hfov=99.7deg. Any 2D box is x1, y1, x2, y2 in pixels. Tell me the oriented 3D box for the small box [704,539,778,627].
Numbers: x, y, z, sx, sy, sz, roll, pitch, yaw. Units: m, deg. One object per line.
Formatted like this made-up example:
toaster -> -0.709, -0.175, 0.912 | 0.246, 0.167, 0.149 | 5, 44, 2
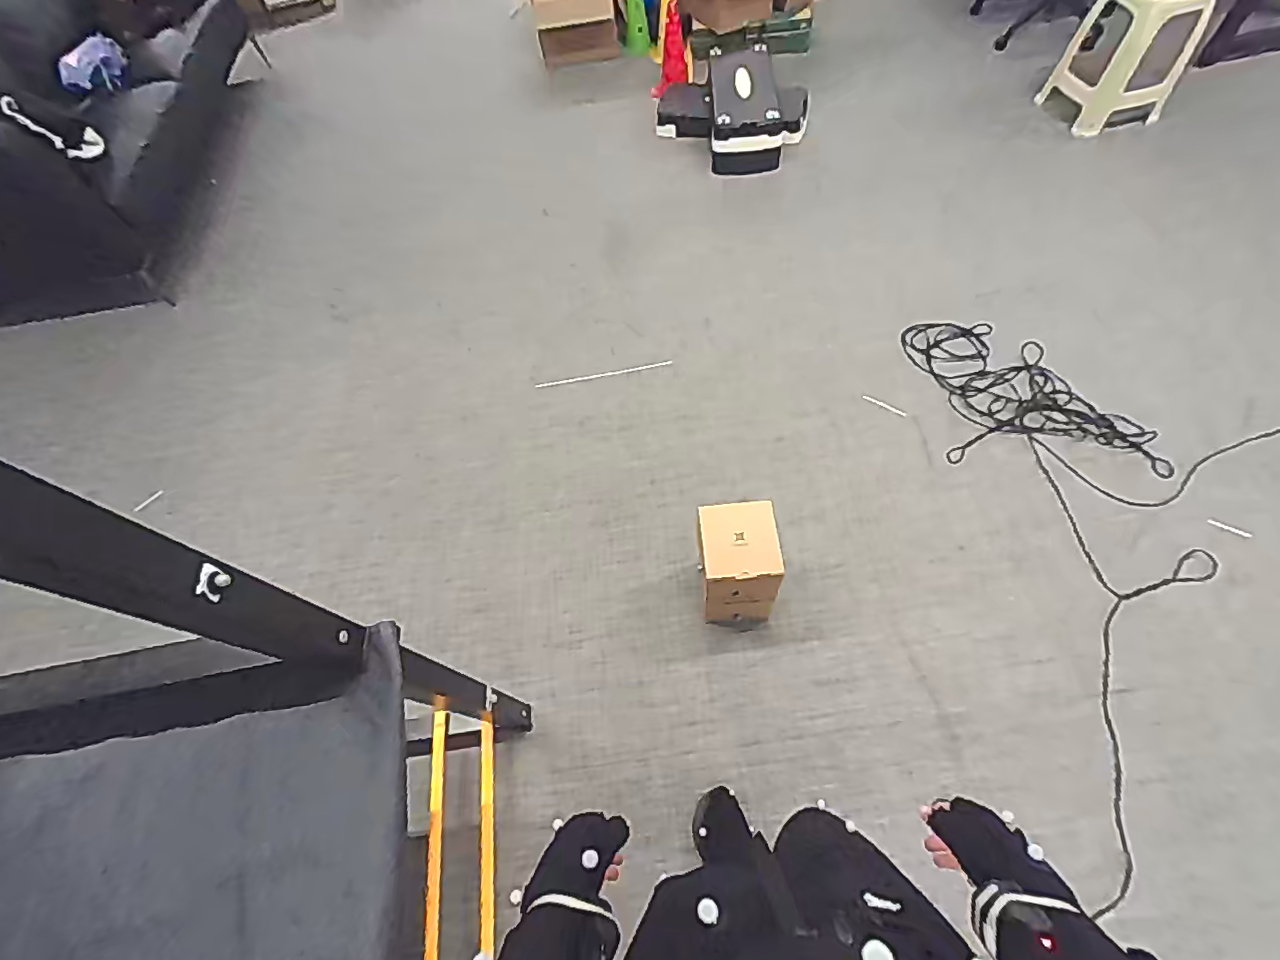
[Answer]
small box -> 0.251, 0.266, 1.384 | 0.168, 0.176, 0.179 | -5, 60, 5
